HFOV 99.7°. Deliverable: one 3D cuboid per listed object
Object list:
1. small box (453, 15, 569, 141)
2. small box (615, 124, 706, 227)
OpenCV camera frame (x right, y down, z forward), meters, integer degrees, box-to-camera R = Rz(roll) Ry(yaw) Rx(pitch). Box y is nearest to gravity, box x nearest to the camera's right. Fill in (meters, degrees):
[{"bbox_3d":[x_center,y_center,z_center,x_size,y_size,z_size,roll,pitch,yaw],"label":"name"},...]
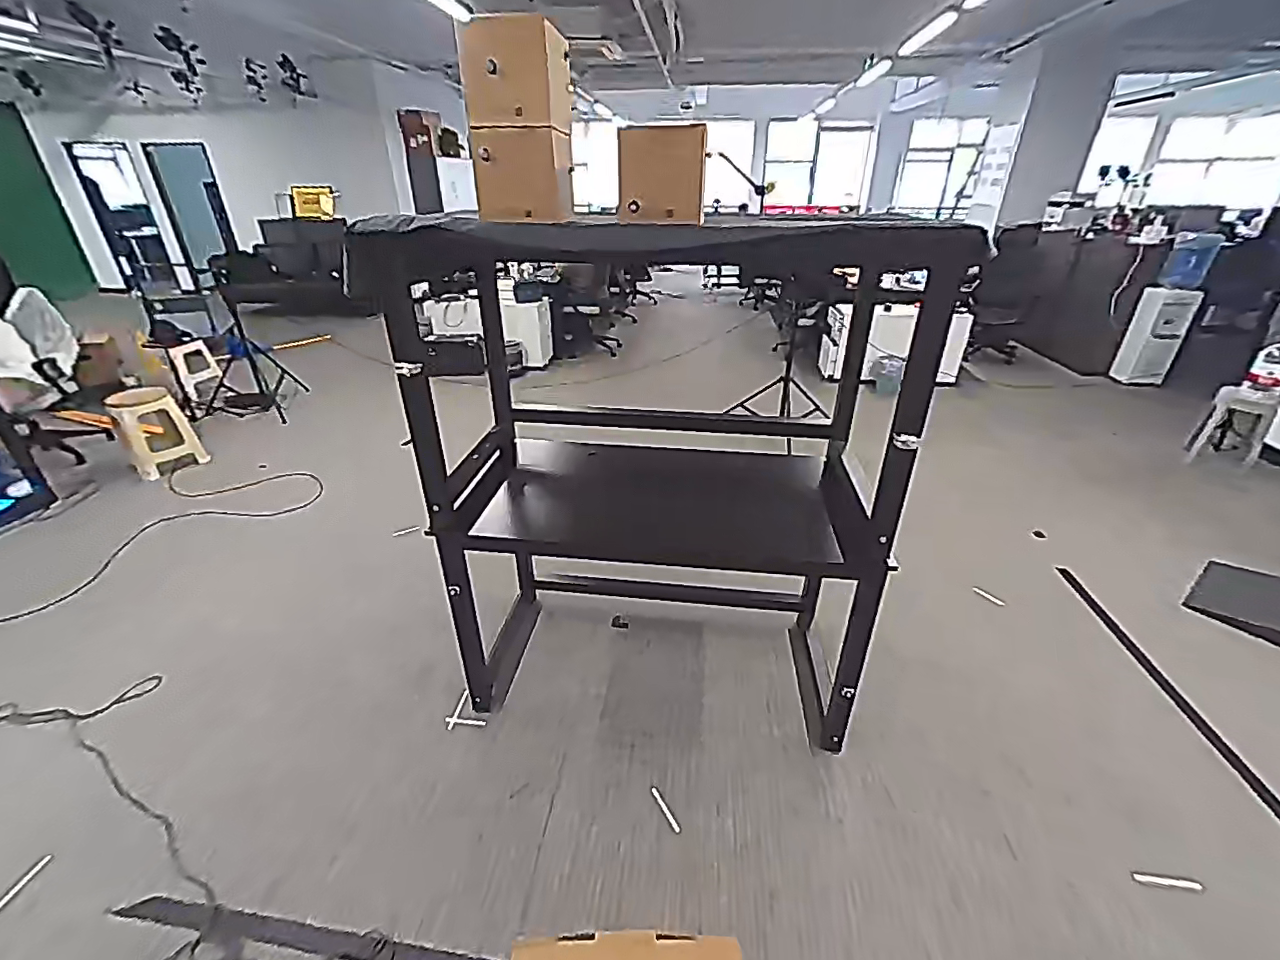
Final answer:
[{"bbox_3d":[-0.238,-0.770,1.052,0.168,0.176,0.179,3,27,6],"label":"small box"},{"bbox_3d":[0.046,-0.611,1.098,0.168,0.176,0.179,4,26,7],"label":"small box"}]
